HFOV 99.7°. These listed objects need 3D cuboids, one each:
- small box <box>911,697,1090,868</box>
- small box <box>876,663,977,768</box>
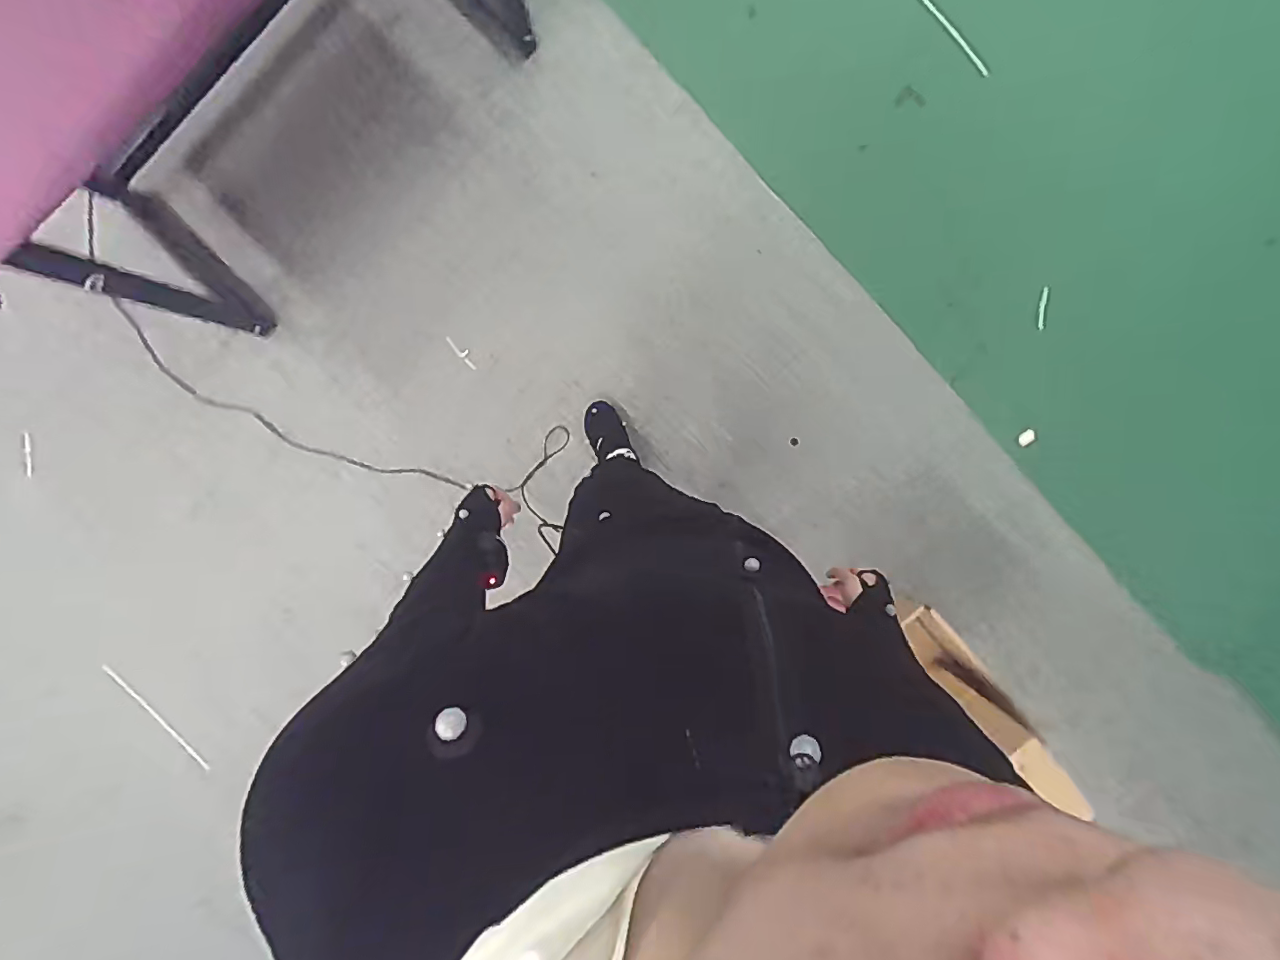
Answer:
[{"bbox_3d":[0.645,0.540,0.990,0.168,0.176,0.179,-38,92,2],"label":"small box"},{"bbox_3d":[0.647,0.529,1.154,0.168,0.176,0.179,-40,92,3],"label":"small box"}]
